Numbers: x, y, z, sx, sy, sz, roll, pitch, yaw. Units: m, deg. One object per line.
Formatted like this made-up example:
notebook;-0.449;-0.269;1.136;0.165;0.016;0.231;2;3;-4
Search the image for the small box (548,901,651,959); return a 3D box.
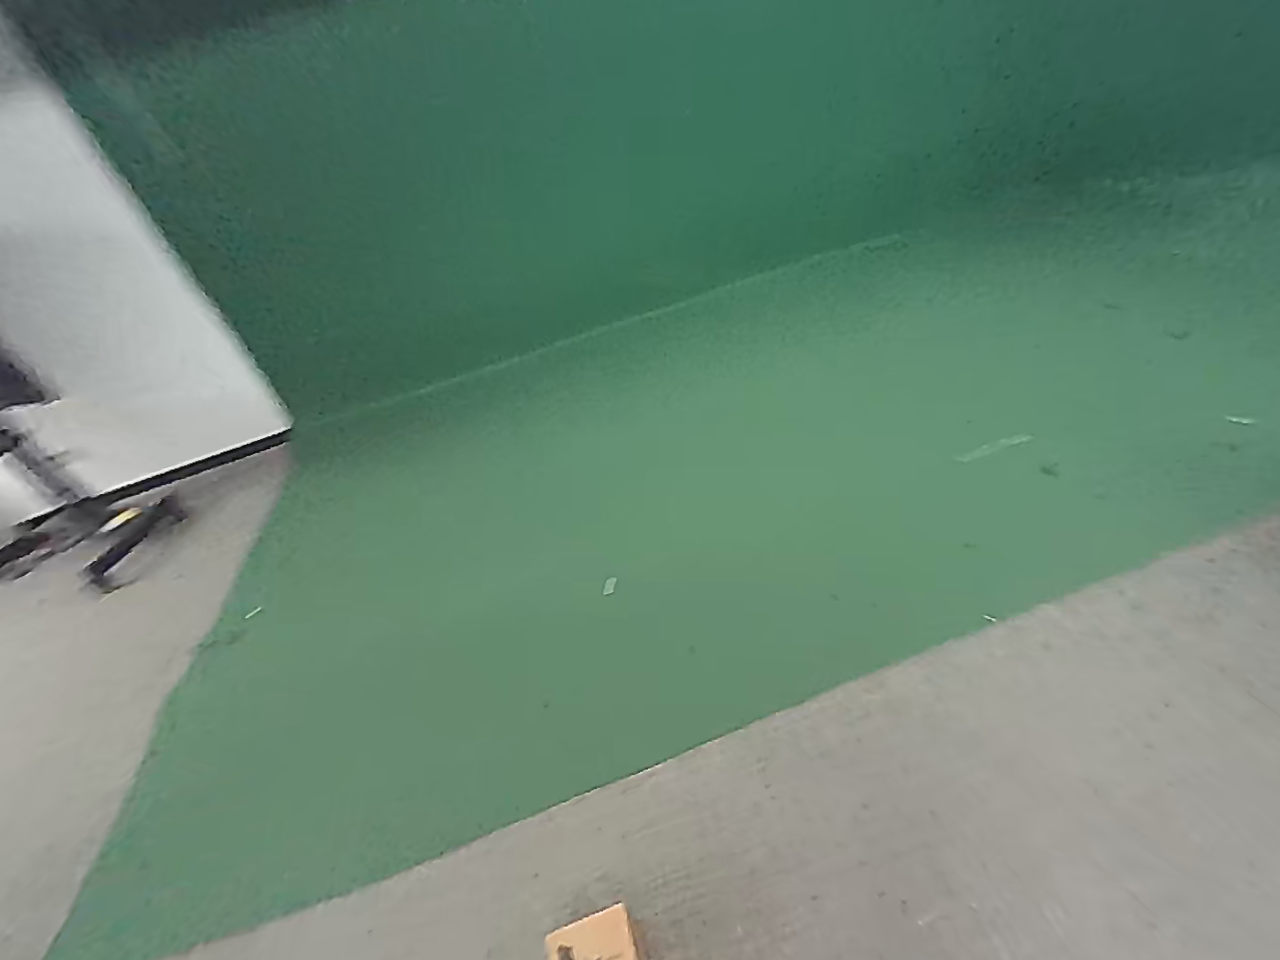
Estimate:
small box;-0.071;1.015;1.106;0.179;0.176;0.168;-20;37;-6
